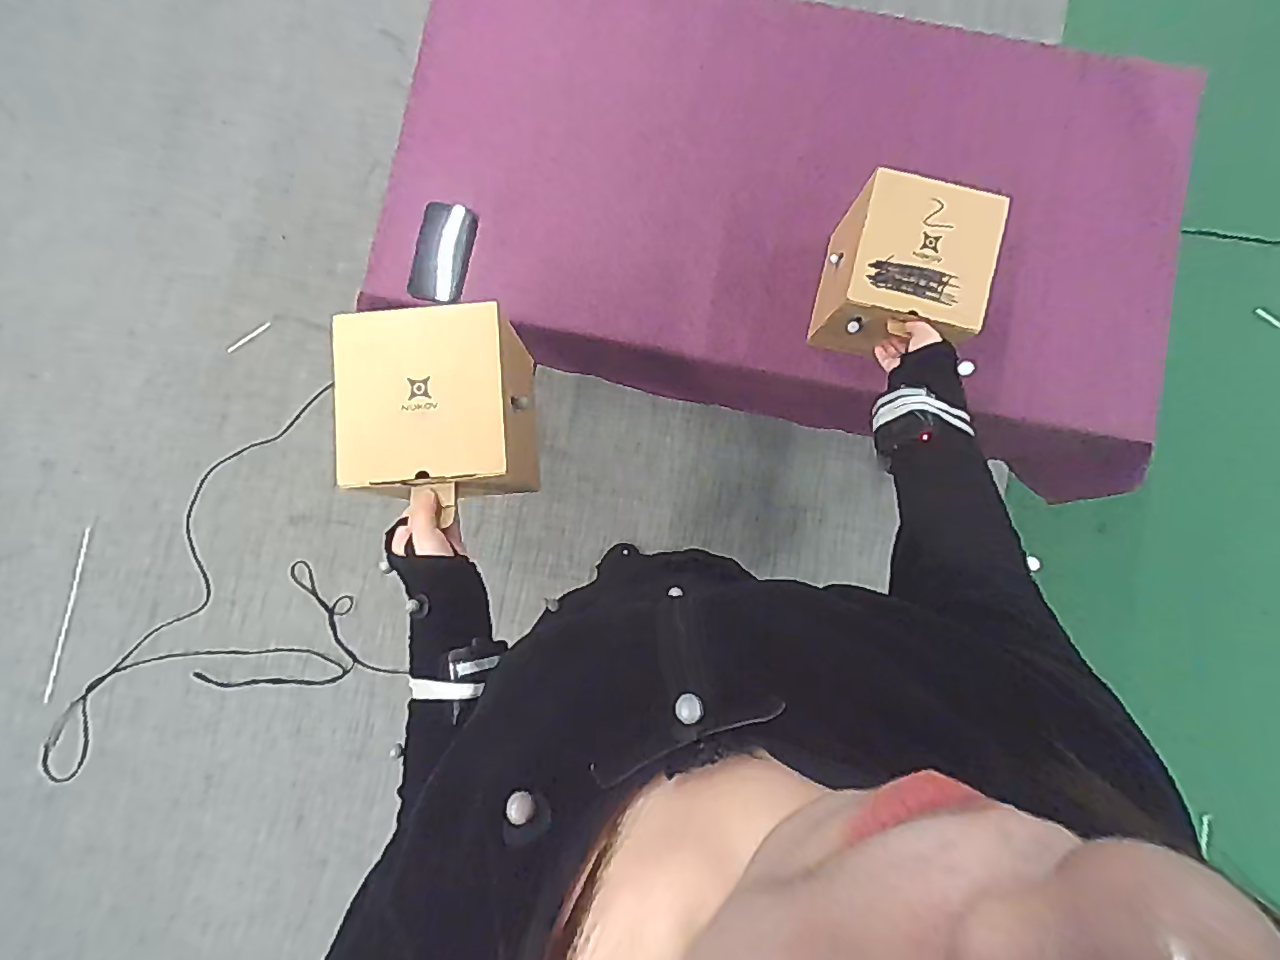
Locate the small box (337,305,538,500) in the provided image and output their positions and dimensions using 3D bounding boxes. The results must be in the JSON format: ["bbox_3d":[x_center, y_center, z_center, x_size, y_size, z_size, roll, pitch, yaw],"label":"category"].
[{"bbox_3d":[-0.212,-0.074,0.604,0.168,0.176,0.179,-4,85,-1],"label":"small box"}]
